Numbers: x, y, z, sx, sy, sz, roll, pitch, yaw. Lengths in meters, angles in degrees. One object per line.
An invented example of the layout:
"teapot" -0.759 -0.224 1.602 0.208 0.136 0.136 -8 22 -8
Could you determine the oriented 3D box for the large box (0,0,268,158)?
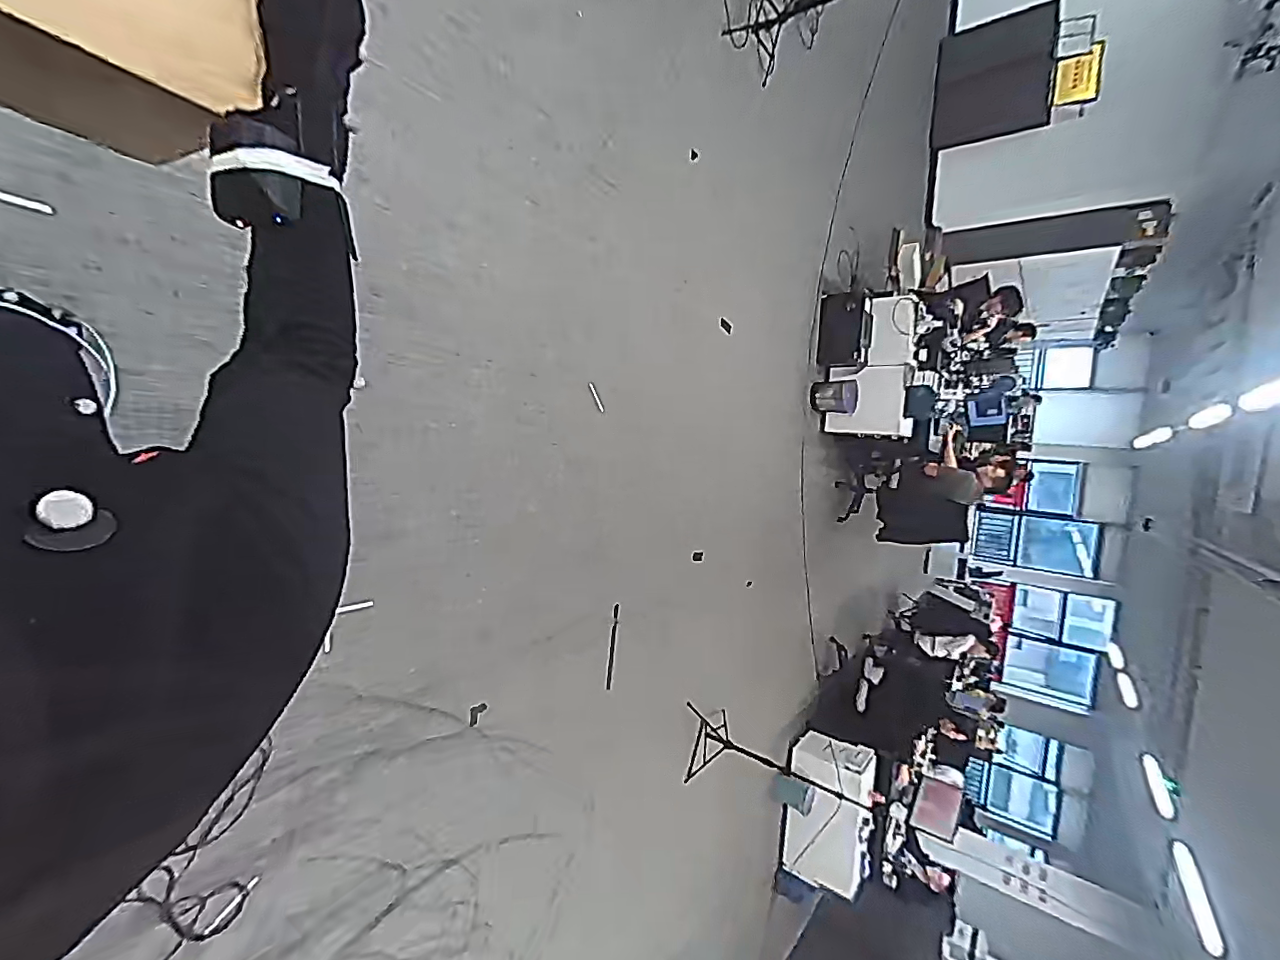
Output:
"large box" -0.500 -0.464 0.328 0.408 0.320 0.320 5 102 -54
